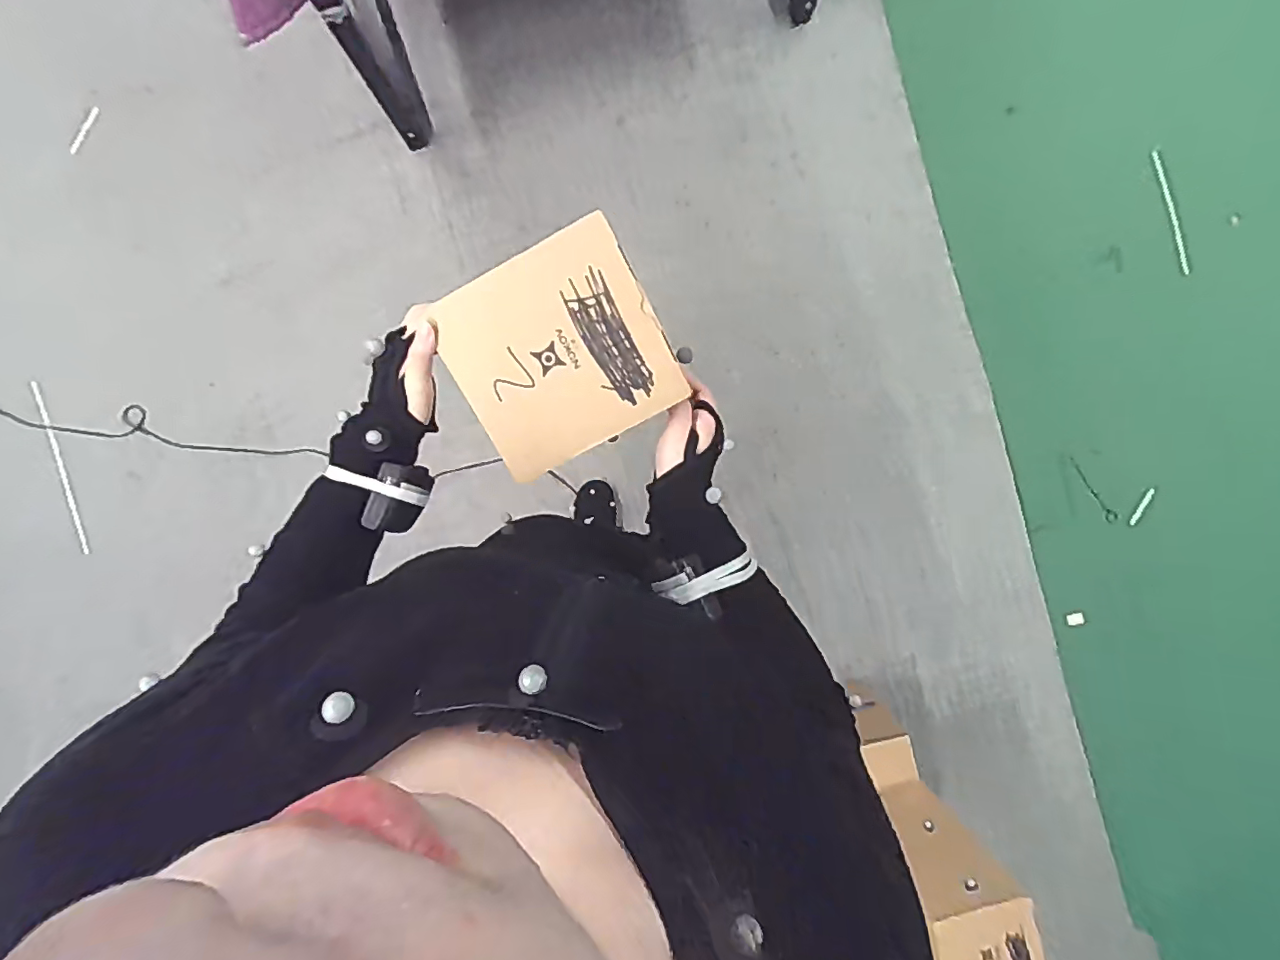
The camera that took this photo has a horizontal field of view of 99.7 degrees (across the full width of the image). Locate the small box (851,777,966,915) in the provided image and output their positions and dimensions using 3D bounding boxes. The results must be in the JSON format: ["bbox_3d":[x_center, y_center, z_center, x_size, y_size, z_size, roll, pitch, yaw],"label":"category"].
[{"bbox_3d":[0.573,0.773,1.145,0.168,0.176,0.179,-13,93,-3],"label":"small box"}]

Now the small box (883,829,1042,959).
[{"bbox_3d":[0.576,0.775,0.980,0.179,0.176,0.168,-14,92,-2],"label":"small box"}]
